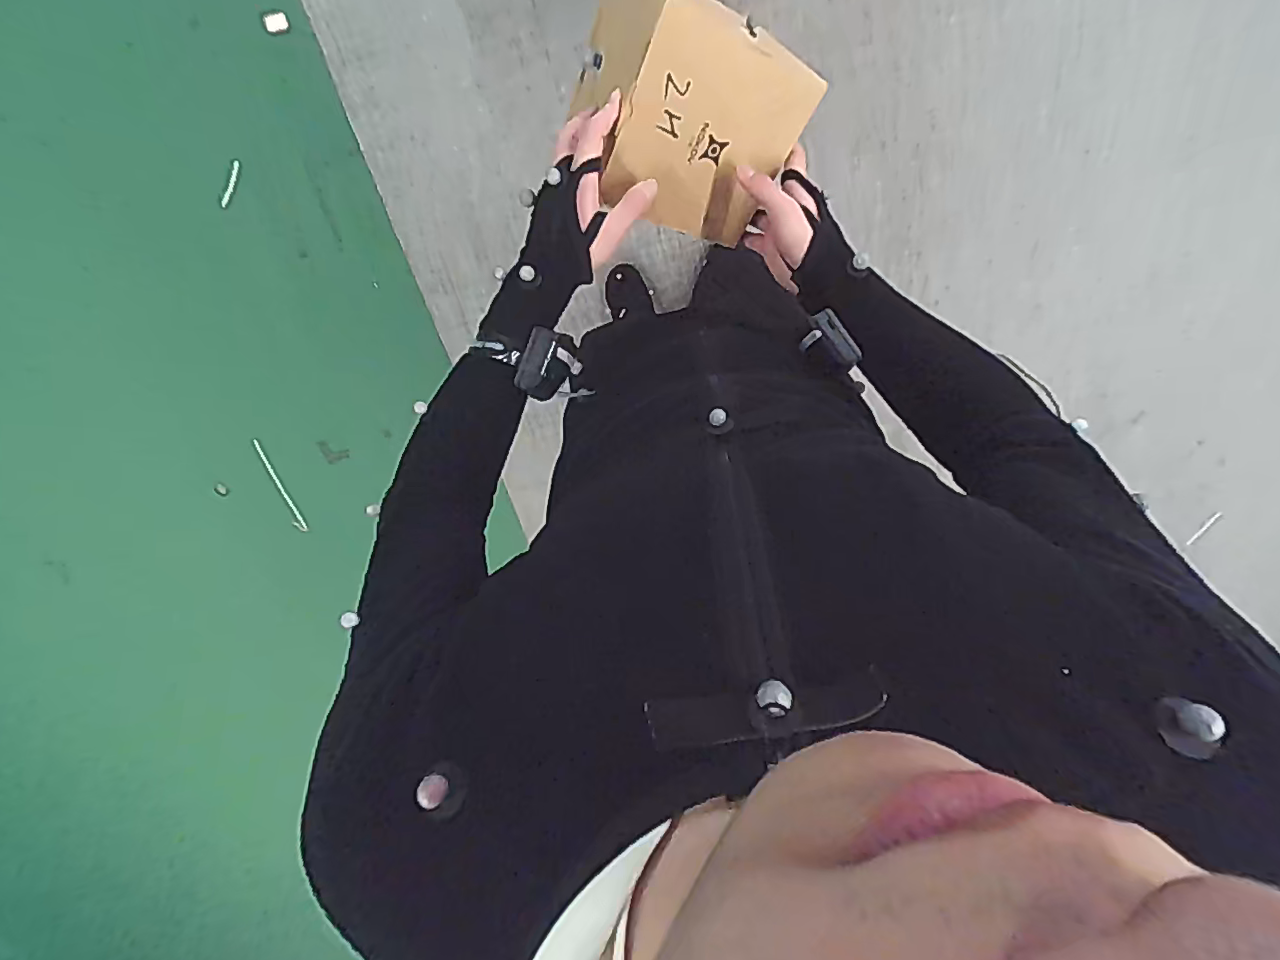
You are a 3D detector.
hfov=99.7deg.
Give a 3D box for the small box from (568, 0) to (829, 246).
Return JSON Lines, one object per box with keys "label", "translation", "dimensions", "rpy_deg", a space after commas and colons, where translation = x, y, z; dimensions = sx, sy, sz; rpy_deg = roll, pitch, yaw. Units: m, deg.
{"label": "small box", "translation": [0.044, -0.374, 0.542], "dimensions": [0.179, 0.176, 0.168], "rpy_deg": [5, 140, -28]}
